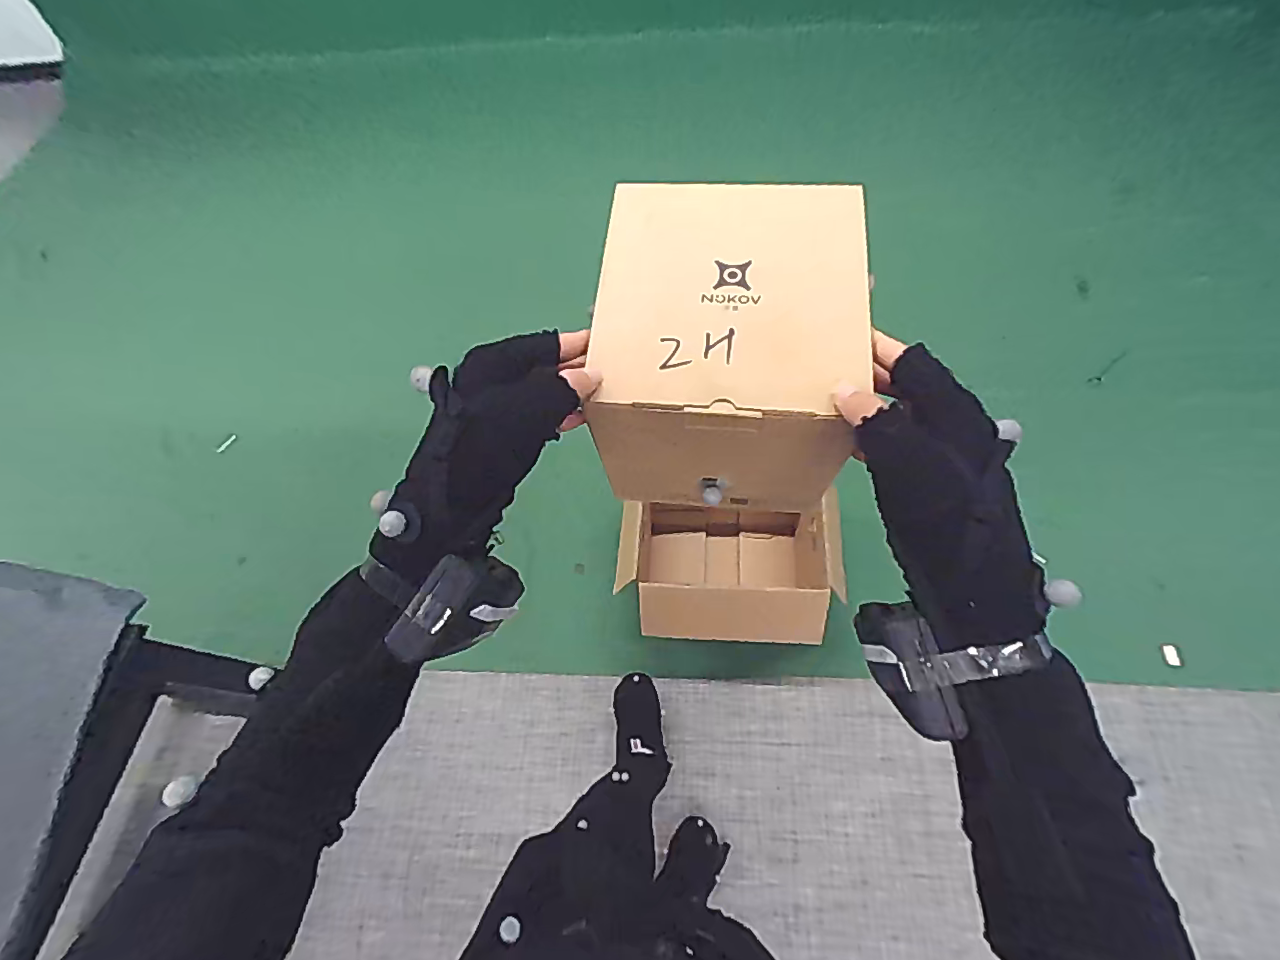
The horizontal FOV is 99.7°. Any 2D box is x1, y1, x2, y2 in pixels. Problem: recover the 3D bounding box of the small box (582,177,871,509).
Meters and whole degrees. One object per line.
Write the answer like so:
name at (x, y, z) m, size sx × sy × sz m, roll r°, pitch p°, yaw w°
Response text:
small box at (0.063, -0.092, 0.408) m, size 0.168 × 0.176 × 0.179 m, roll 4°, pitch 69°, yaw 7°
